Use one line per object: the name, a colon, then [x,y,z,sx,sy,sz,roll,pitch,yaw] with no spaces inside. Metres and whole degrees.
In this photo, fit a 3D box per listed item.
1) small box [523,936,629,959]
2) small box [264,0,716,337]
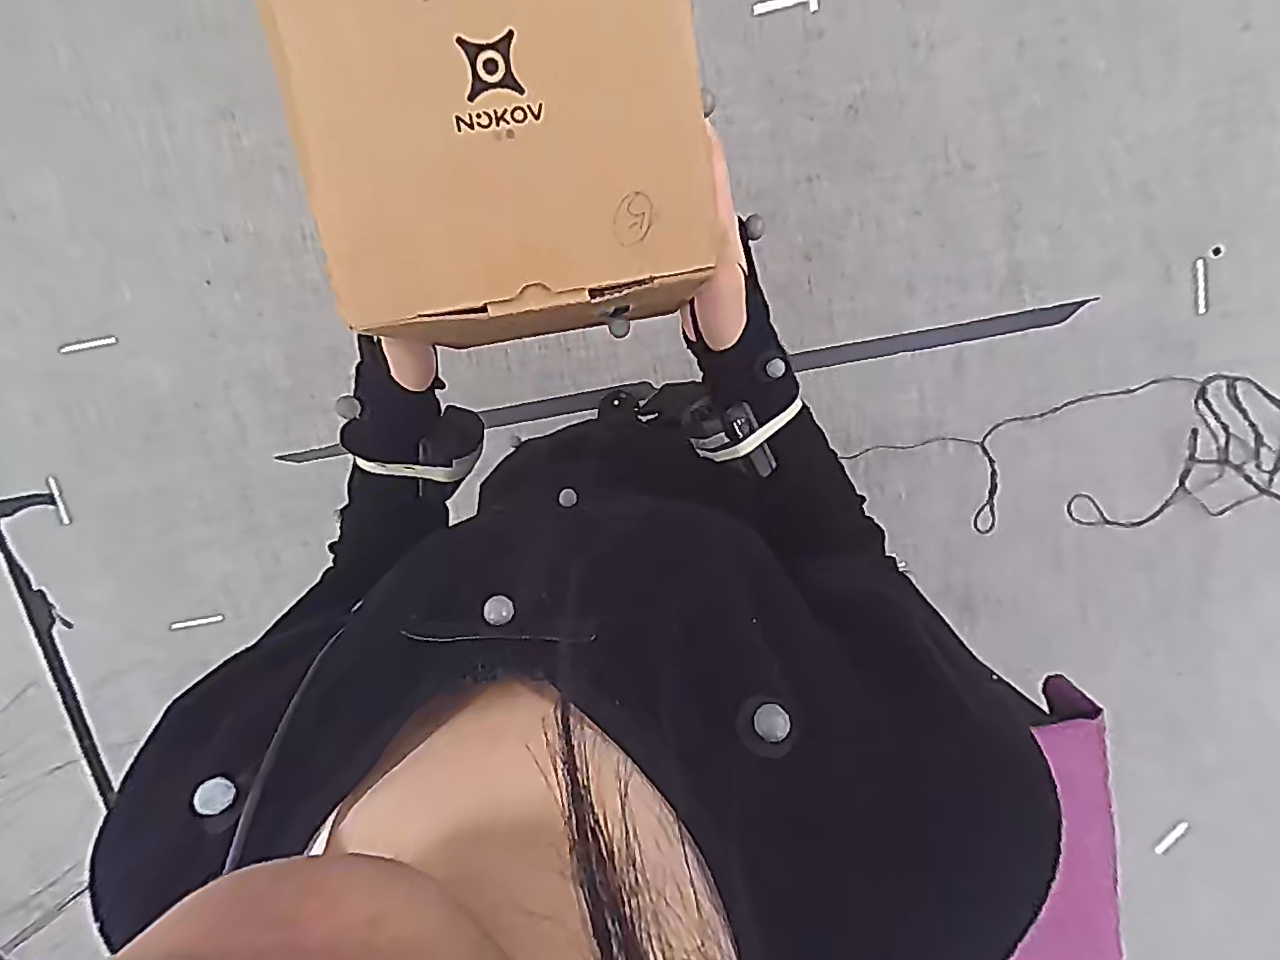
small box: [-0.094,0.820,0.785,0.168,0.176,0.179,-5,98,0]
small box: [-0.063,-0.178,0.295,0.168,0.176,0.179,-10,101,-2]
